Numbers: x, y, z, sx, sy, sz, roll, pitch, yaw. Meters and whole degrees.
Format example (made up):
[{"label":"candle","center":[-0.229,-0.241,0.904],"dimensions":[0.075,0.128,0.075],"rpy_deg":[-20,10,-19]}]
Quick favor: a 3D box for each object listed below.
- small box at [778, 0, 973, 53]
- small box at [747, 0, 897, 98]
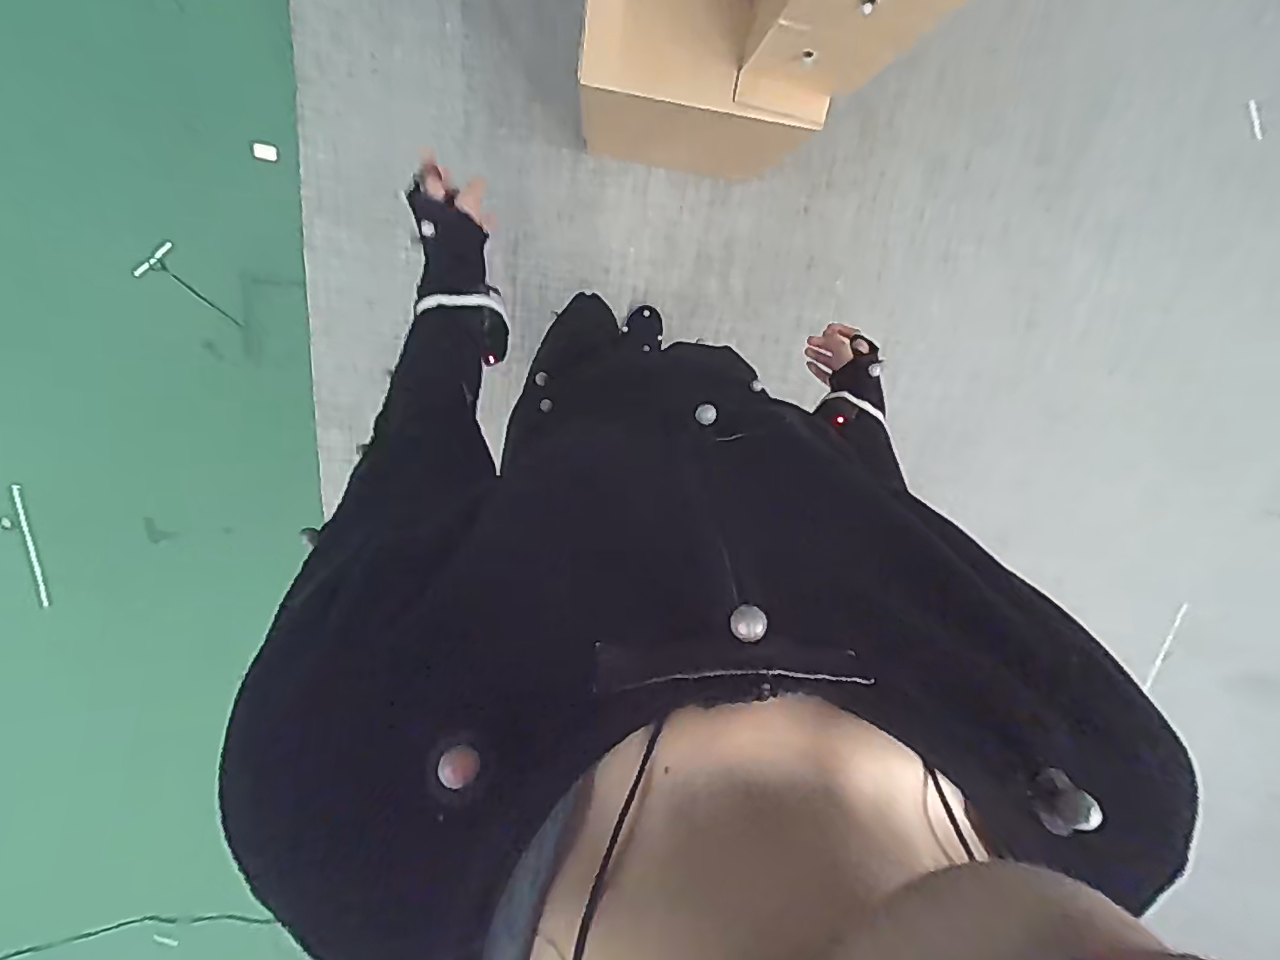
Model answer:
[{"label":"small box","center":[0.280,-0.620,0.607],"dimensions":[0.179,0.176,0.168],"rpy_deg":[10,108,-7]},{"label":"small box","center":[0.264,-0.672,0.762],"dimensions":[0.179,0.176,0.168],"rpy_deg":[9,109,-6]}]
